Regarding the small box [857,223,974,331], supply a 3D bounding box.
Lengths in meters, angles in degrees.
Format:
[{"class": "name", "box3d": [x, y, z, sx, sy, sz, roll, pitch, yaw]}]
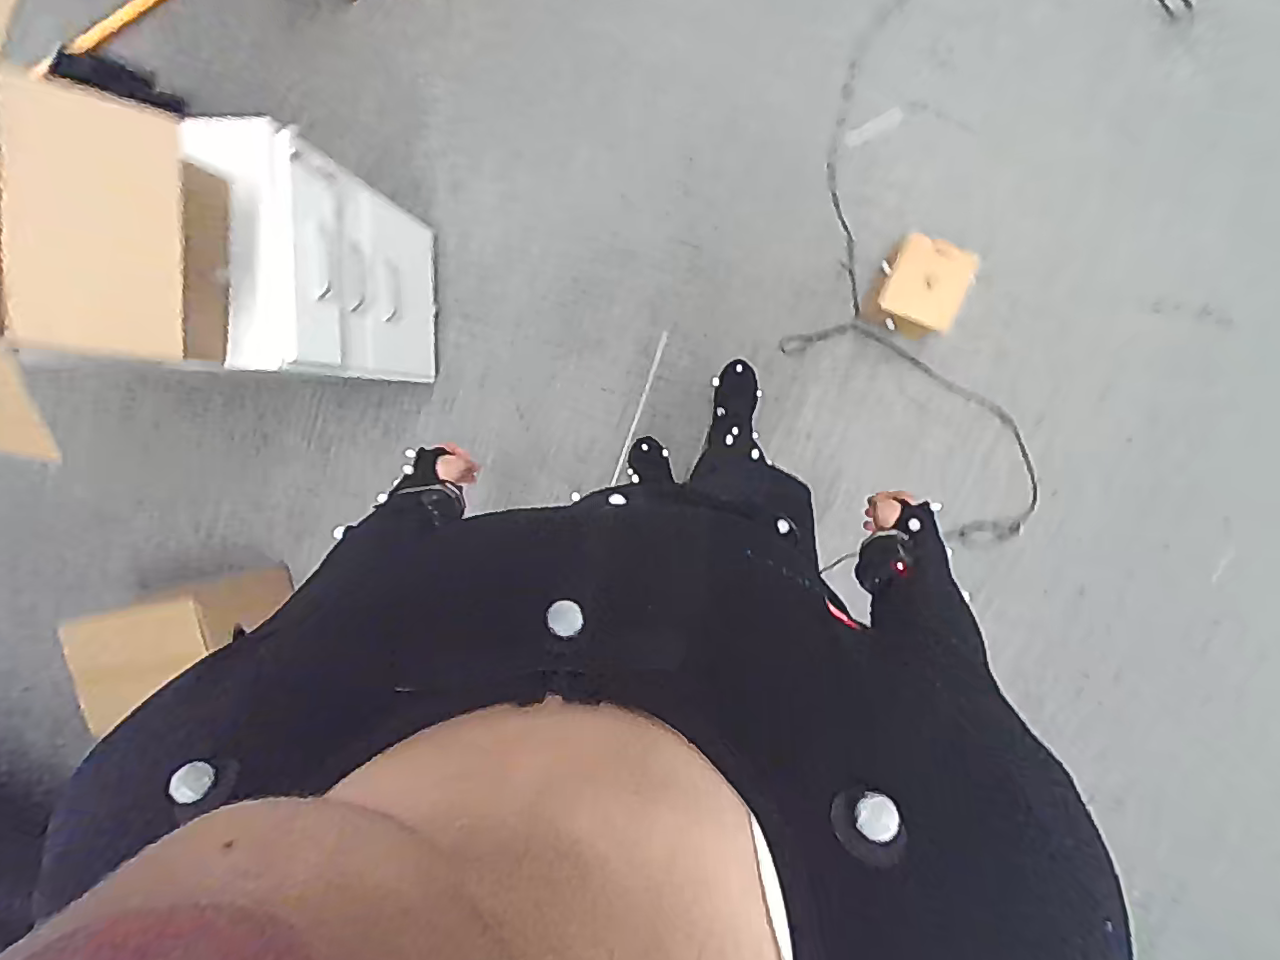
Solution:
[{"class": "small box", "box3d": [0.634, -0.467, 1.275, 0.168, 0.176, 0.179, 22, 99, 2]}]
